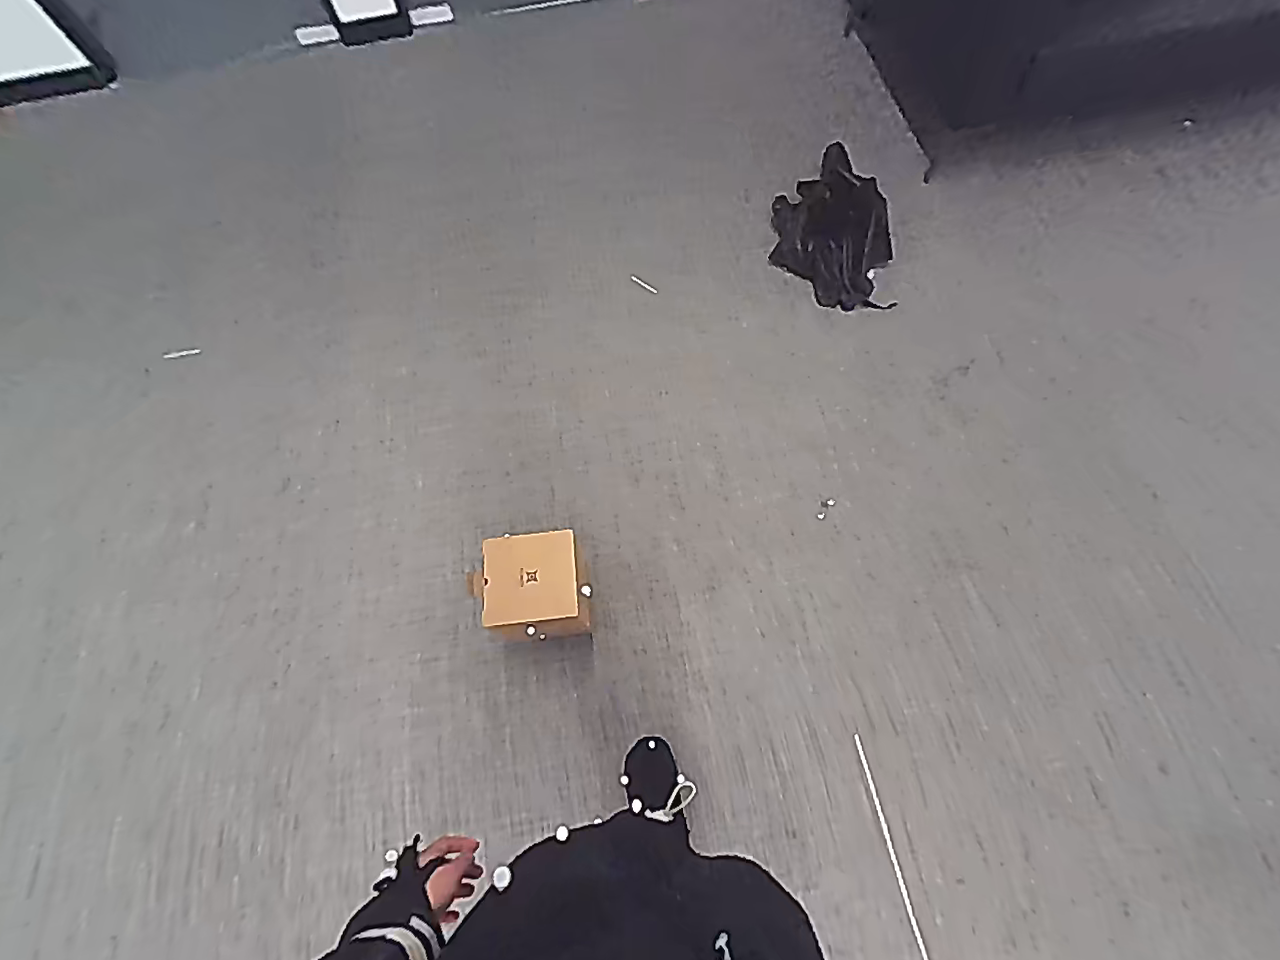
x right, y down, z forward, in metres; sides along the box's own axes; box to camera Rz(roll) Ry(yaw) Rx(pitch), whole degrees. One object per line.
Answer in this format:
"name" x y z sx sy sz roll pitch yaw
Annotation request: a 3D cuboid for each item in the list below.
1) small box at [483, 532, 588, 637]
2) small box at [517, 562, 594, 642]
"small box" -0.199 0.211 1.064 0.179 0.176 0.168 -7 68 0
"small box" -0.207 0.264 1.219 0.179 0.176 0.168 -7 67 0
